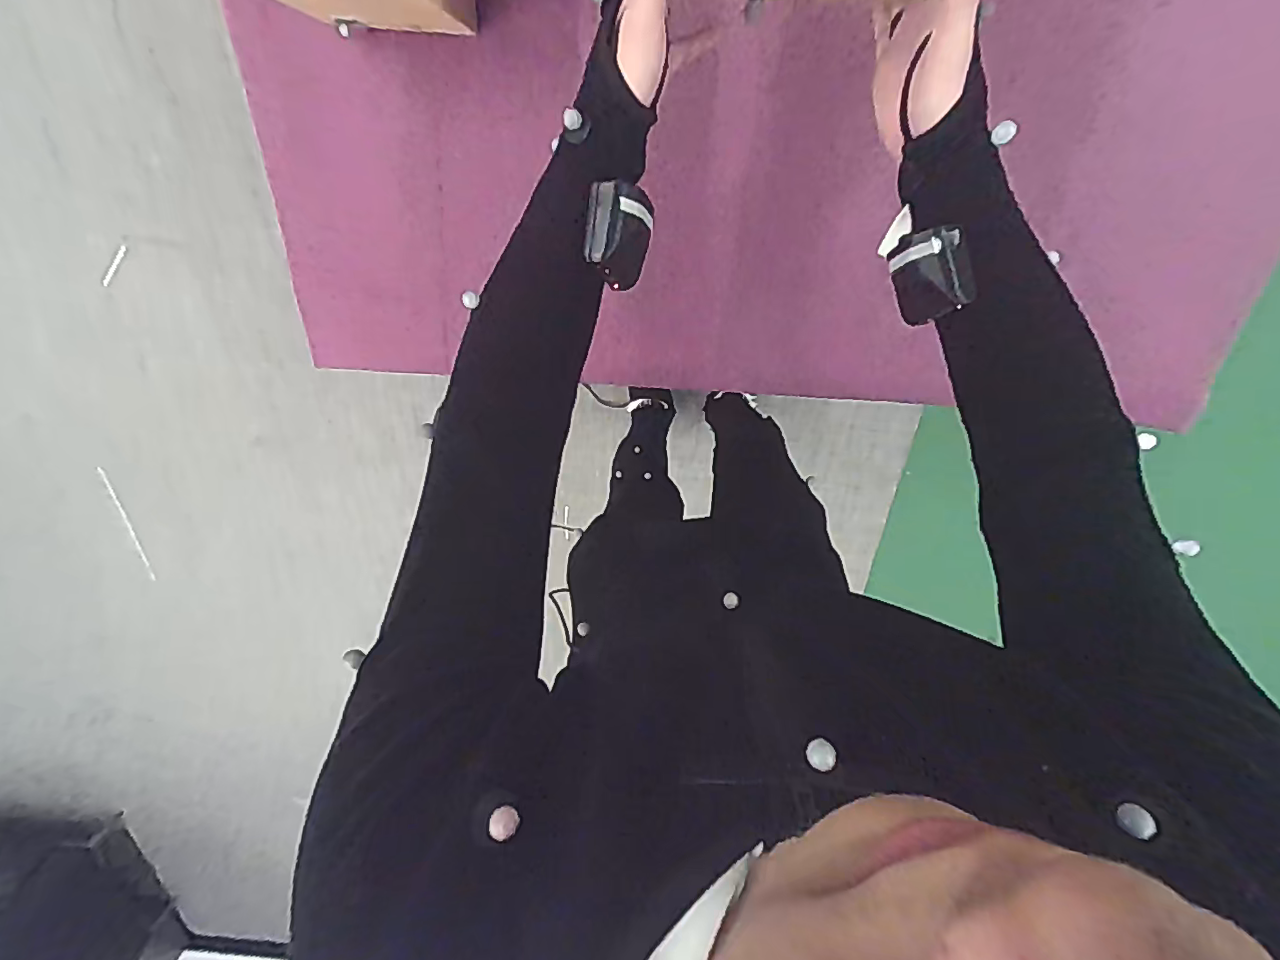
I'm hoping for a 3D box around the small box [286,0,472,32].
[{"bbox_3d":[-0.252,-0.514,0.464,0.168,0.176,0.179,5,120,0],"label":"small box"}]

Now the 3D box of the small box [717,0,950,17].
[{"bbox_3d":[0.116,-0.409,0.334,0.168,0.176,0.179,5,132,-1],"label":"small box"}]
